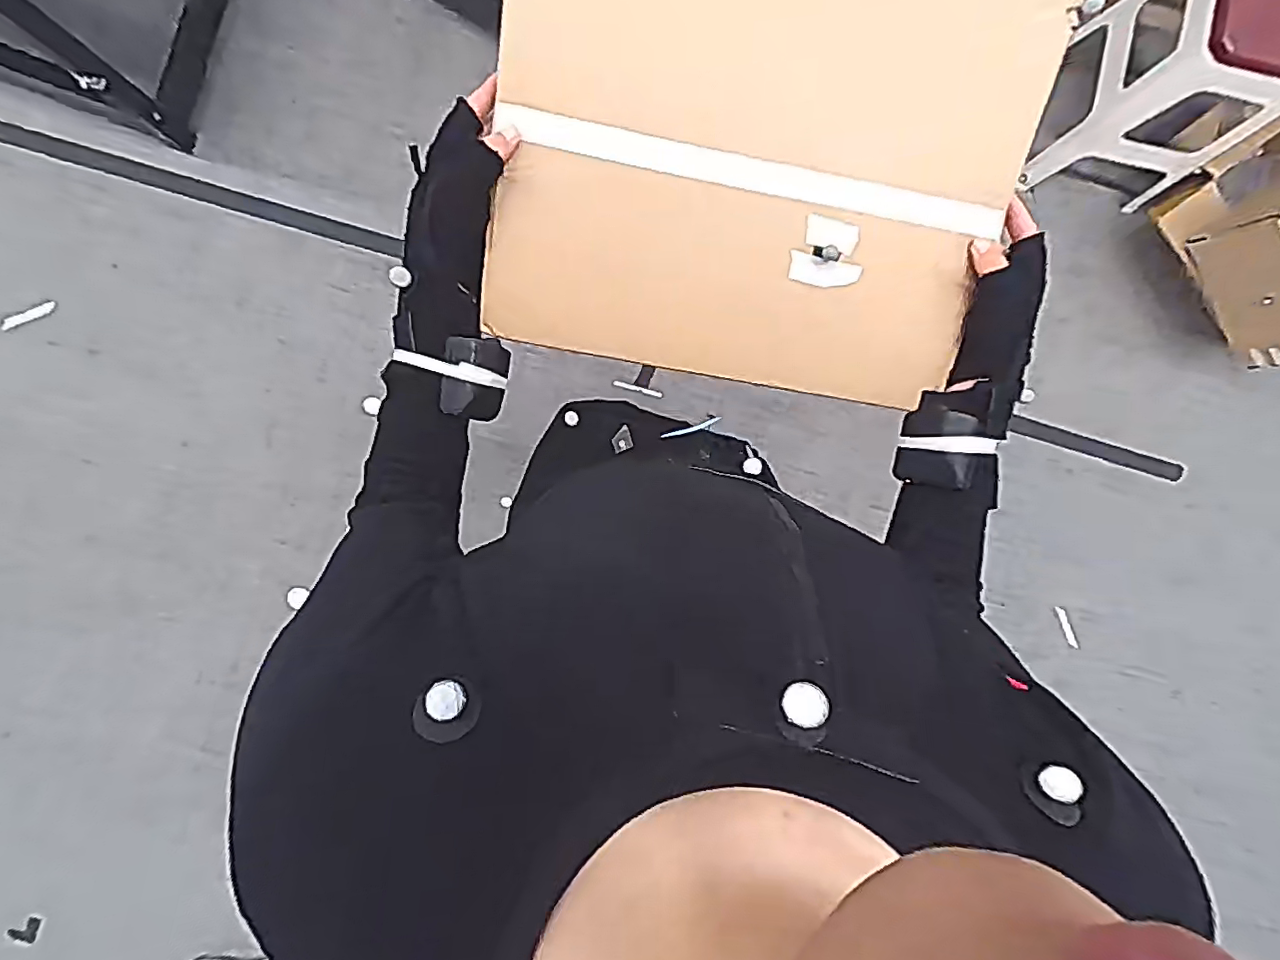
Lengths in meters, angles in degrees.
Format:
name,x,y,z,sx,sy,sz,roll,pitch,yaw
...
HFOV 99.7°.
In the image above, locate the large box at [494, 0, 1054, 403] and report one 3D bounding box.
name,x,y,z,sx,sy,sz,roll,pitch,yaw
large box,0.083,-0.289,0.572,0.408,0.320,0.320,9,110,-7
